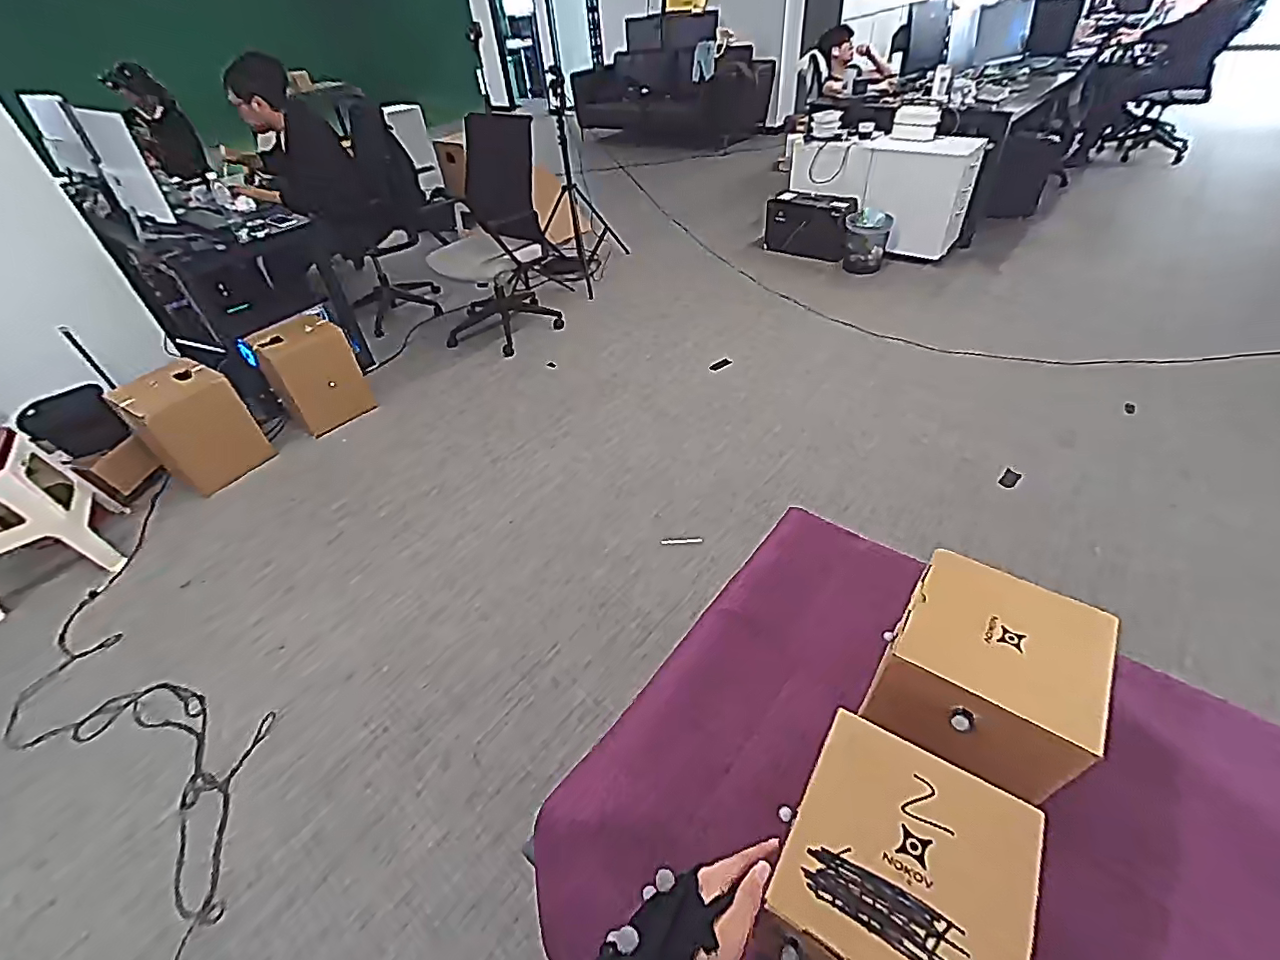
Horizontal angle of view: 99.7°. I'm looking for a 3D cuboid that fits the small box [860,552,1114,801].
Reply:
[{"bbox_3d":[0.370,0.218,0.598,0.179,0.176,0.168,24,50,28],"label":"small box"}]
